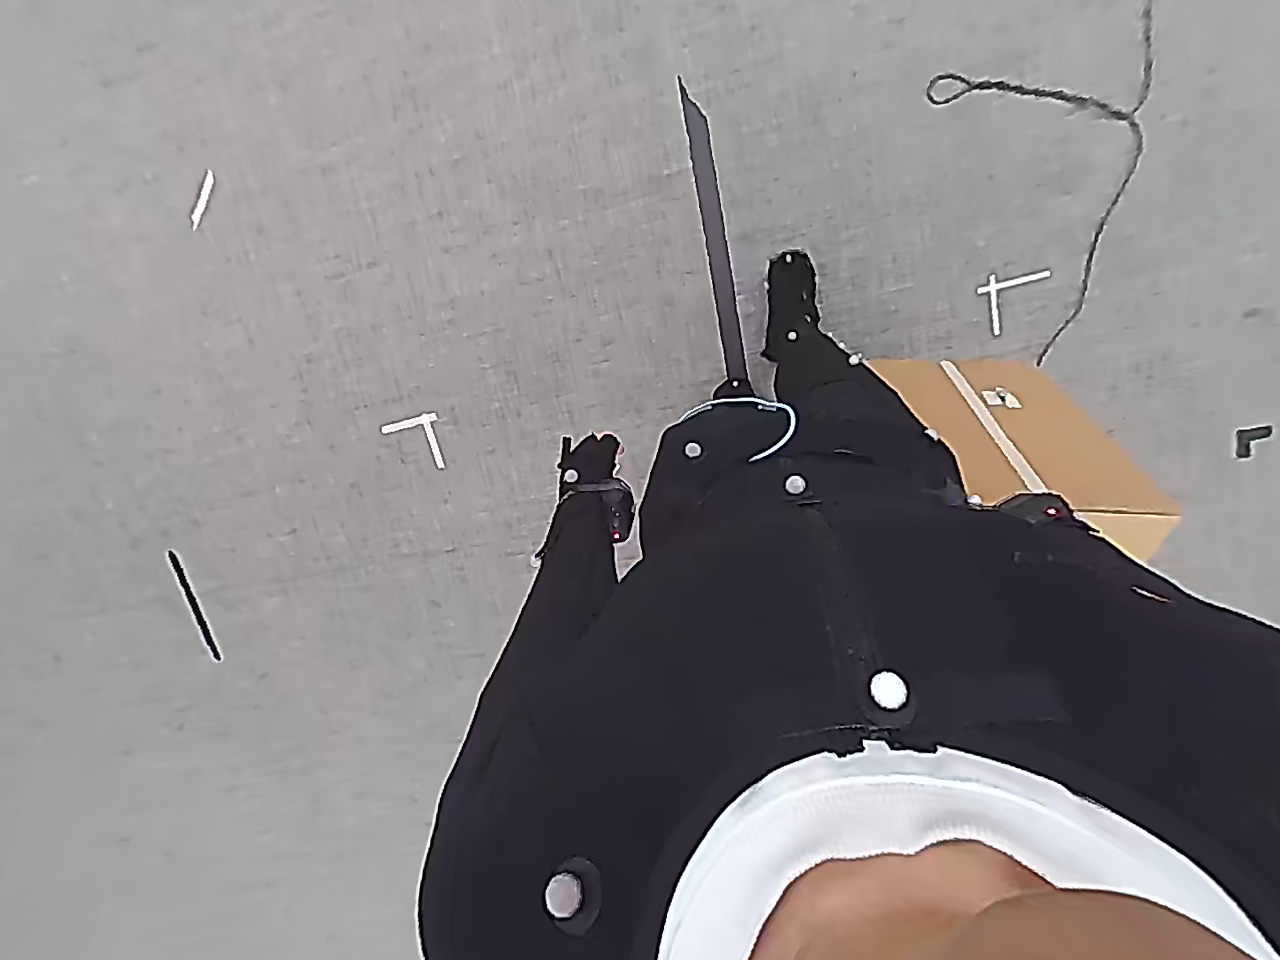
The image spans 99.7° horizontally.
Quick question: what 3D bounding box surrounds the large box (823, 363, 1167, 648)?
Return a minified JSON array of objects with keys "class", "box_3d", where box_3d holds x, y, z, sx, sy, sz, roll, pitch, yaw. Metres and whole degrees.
[{"class":"large box","box_3d":[0.529,0.030,0.929,0.320,0.408,0.320,3,127,4]}]
